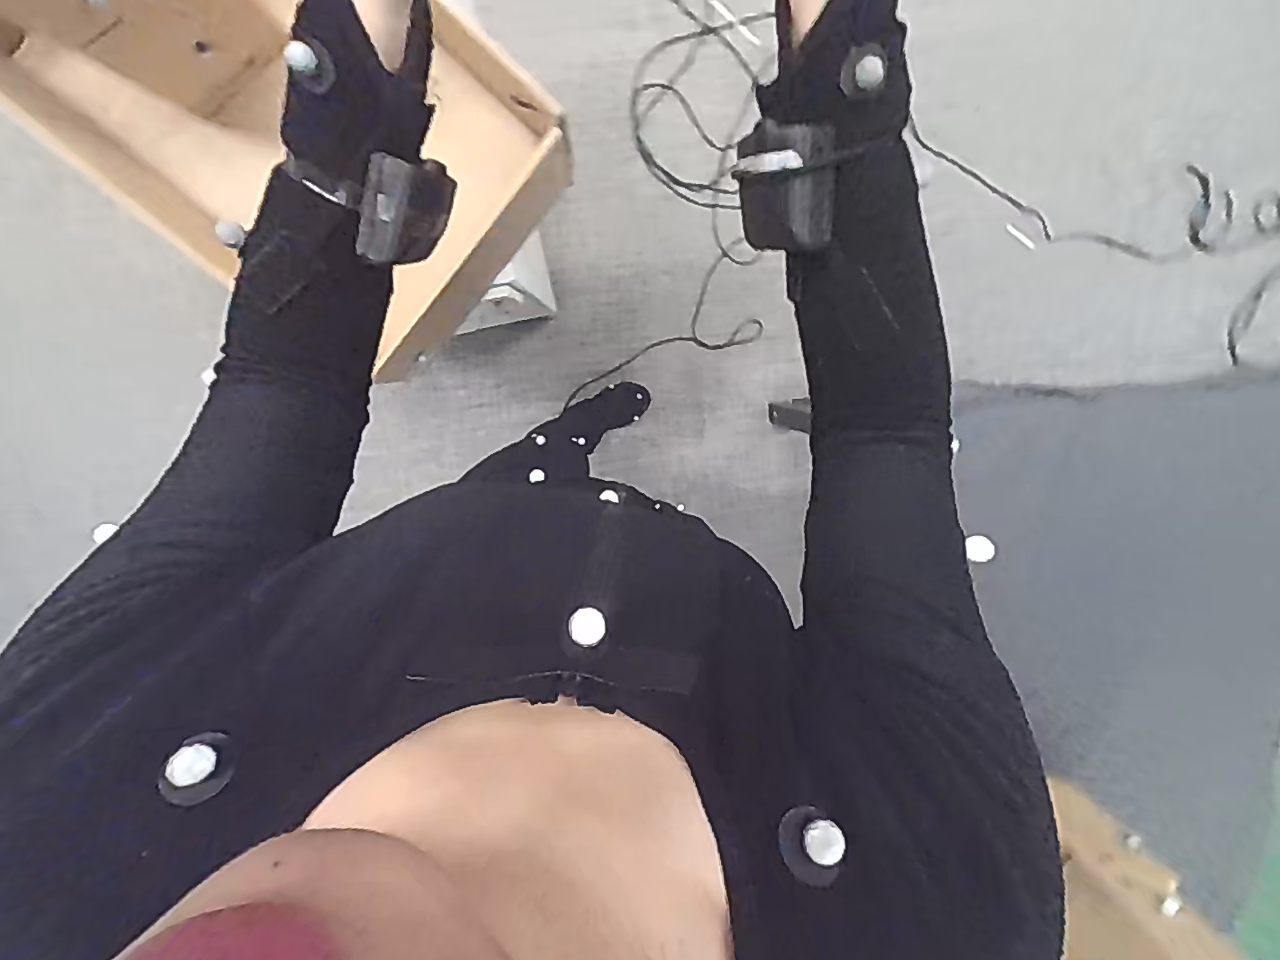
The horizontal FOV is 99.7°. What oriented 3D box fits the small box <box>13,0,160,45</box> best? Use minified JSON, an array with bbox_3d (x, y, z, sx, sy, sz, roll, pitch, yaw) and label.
[{"bbox_3d":[-0.536,-0.530,0.450,0.168,0.176,0.179,-32,103,8],"label":"small box"}]
